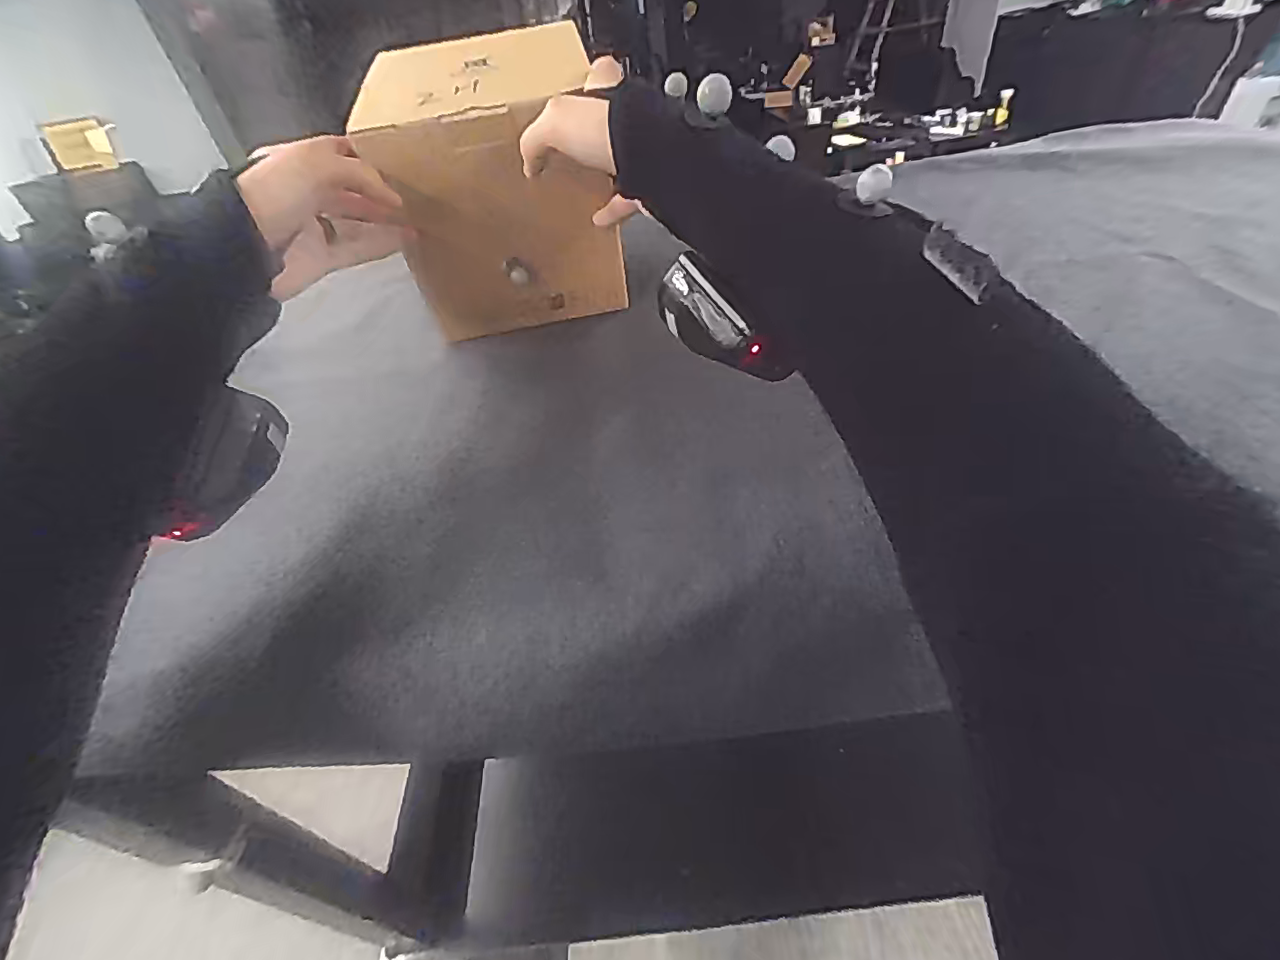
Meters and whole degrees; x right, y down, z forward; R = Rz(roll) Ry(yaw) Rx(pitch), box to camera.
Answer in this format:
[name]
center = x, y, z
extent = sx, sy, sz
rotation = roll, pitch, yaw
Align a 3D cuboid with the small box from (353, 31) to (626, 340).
[small box]
center = -0.110, -0.248, 0.464
extent = 0.168, 0.176, 0.179
rotation = -11, 52, -1
